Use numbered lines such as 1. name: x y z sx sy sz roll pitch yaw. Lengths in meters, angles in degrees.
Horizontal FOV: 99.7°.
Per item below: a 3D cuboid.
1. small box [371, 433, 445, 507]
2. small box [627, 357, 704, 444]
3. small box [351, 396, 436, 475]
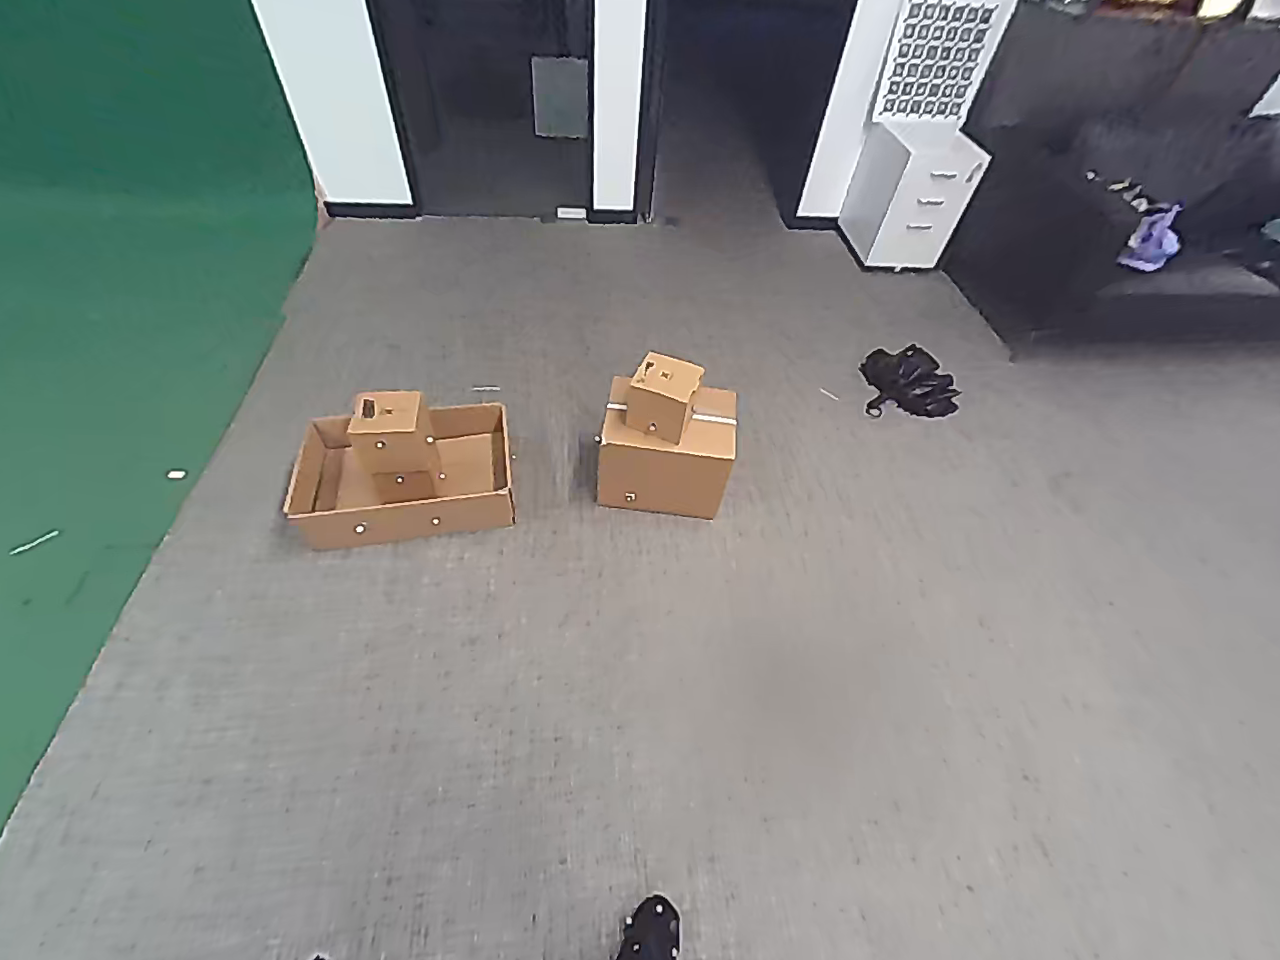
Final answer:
1. small box: -0.726 -0.030 1.705 0.179 0.176 0.168 -5 51 -12
2. small box: 0.072 -0.230 1.604 0.179 0.176 0.168 20 51 10
3. small box: -0.709 -0.126 1.572 0.179 0.176 0.168 -3 51 -10
